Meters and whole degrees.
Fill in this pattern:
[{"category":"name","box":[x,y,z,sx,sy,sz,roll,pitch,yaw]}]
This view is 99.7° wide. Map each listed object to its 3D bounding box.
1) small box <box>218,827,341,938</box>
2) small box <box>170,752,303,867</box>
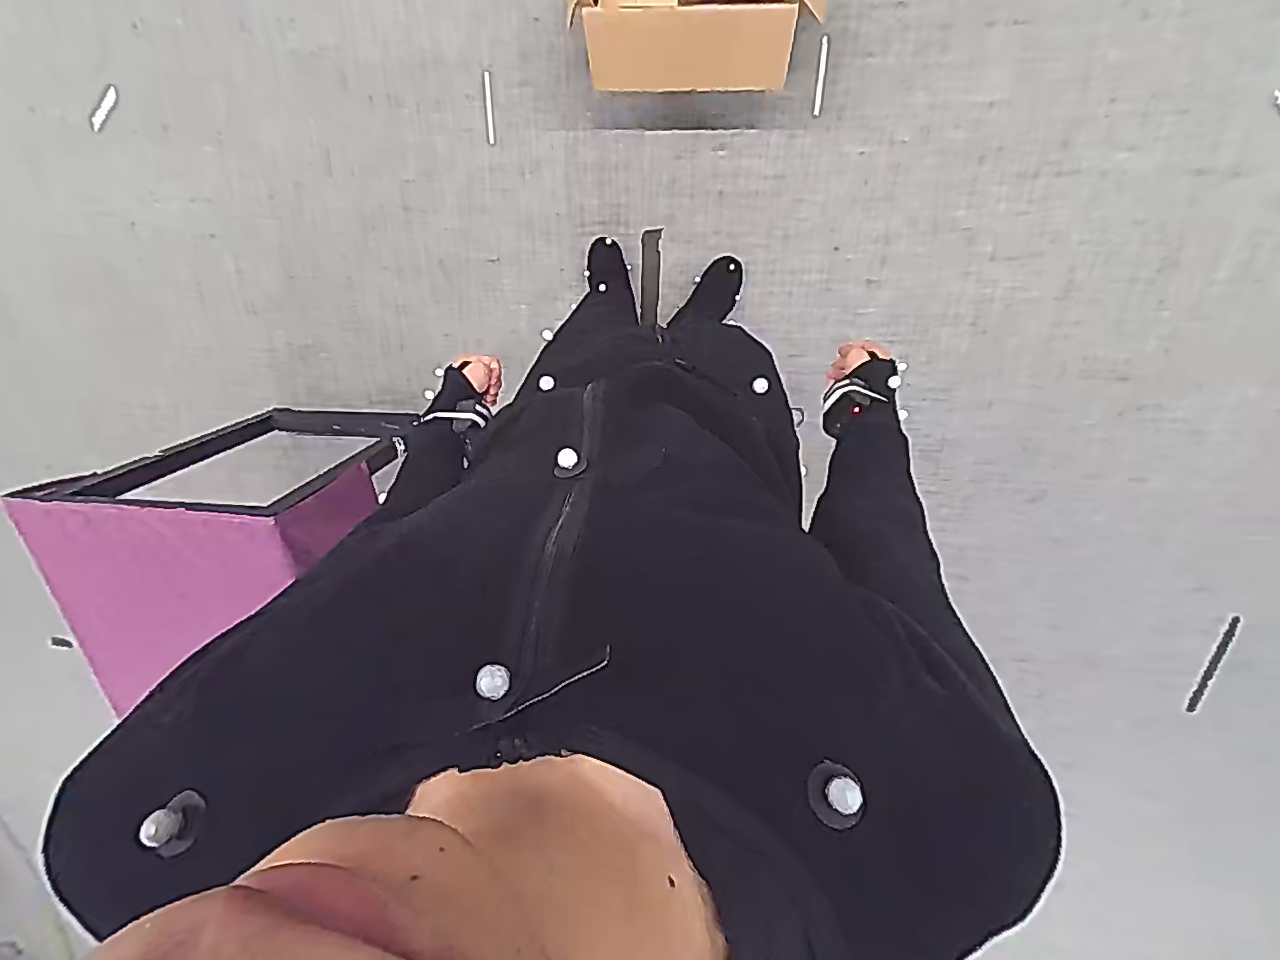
[{"category":"small box","box":[-0.919,1.029,1.395,0.179,0.176,0.168,-1,114,8]},{"category":"small box","box":[-0.942,0.777,1.287,0.179,0.176,0.168,1,113,7]}]
